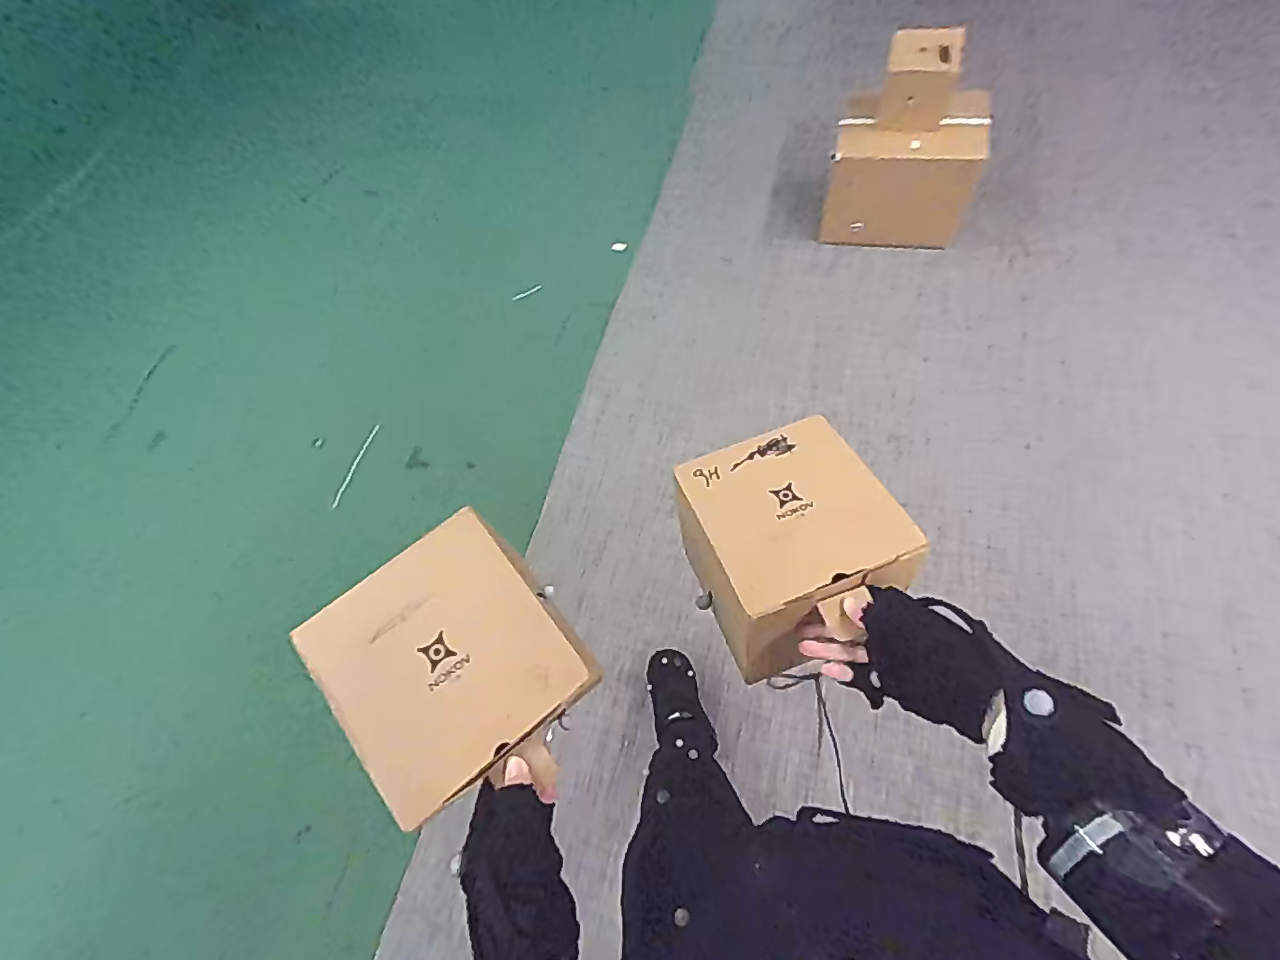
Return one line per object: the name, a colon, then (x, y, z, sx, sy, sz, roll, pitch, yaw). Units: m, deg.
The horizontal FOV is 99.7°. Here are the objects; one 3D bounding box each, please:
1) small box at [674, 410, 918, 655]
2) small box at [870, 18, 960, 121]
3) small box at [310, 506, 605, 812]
small box: (0.147, 0.064, 0.562, 0.168, 0.176, 0.179, -19, 53, -4)
small box: (0.754, -1.127, 1.493, 0.179, 0.176, 0.168, 9, 73, 14)
small box: (-0.147, 0.155, 0.501, 0.168, 0.176, 0.179, -38, 74, -11)
